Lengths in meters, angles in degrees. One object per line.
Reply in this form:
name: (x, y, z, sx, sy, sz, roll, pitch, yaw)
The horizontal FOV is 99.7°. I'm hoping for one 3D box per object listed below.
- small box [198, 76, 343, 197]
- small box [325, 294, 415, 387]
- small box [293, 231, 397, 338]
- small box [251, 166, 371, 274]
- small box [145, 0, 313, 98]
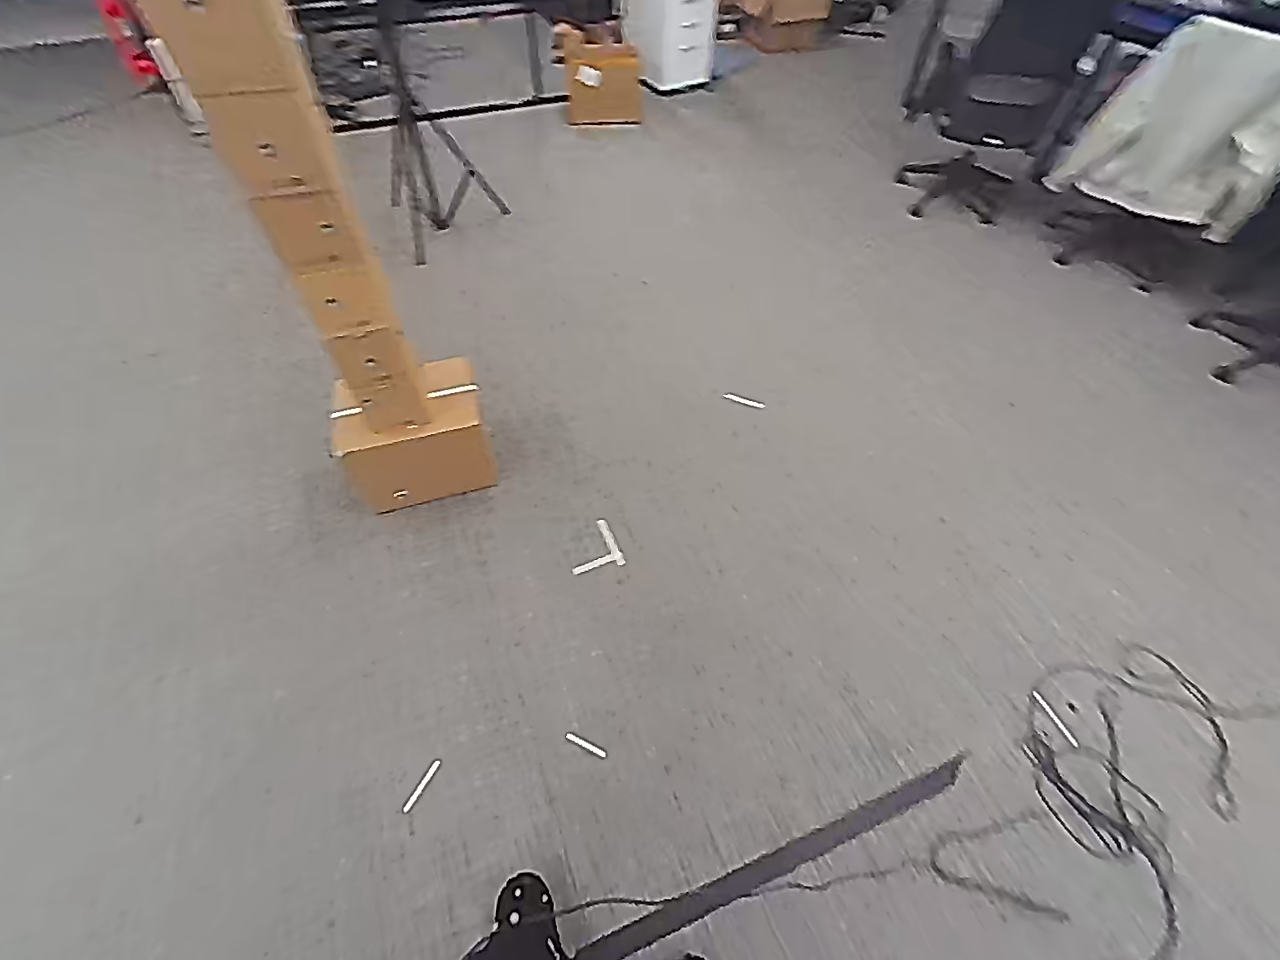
small box: (-0.678, -0.651, 1.015, 0.168, 0.176, 0.179, -13, 54, -12)
small box: (-0.696, -0.359, 1.408, 0.168, 0.176, 0.179, -13, 55, -11)
small box: (-0.689, -0.454, 1.276, 0.168, 0.176, 0.179, -15, 55, -12)
small box: (-0.688, -0.555, 1.149, 0.168, 0.176, 0.179, -15, 53, -14)
small box: (-0.668, -0.747, 0.882, 0.179, 0.176, 0.168, -13, 55, -13)
